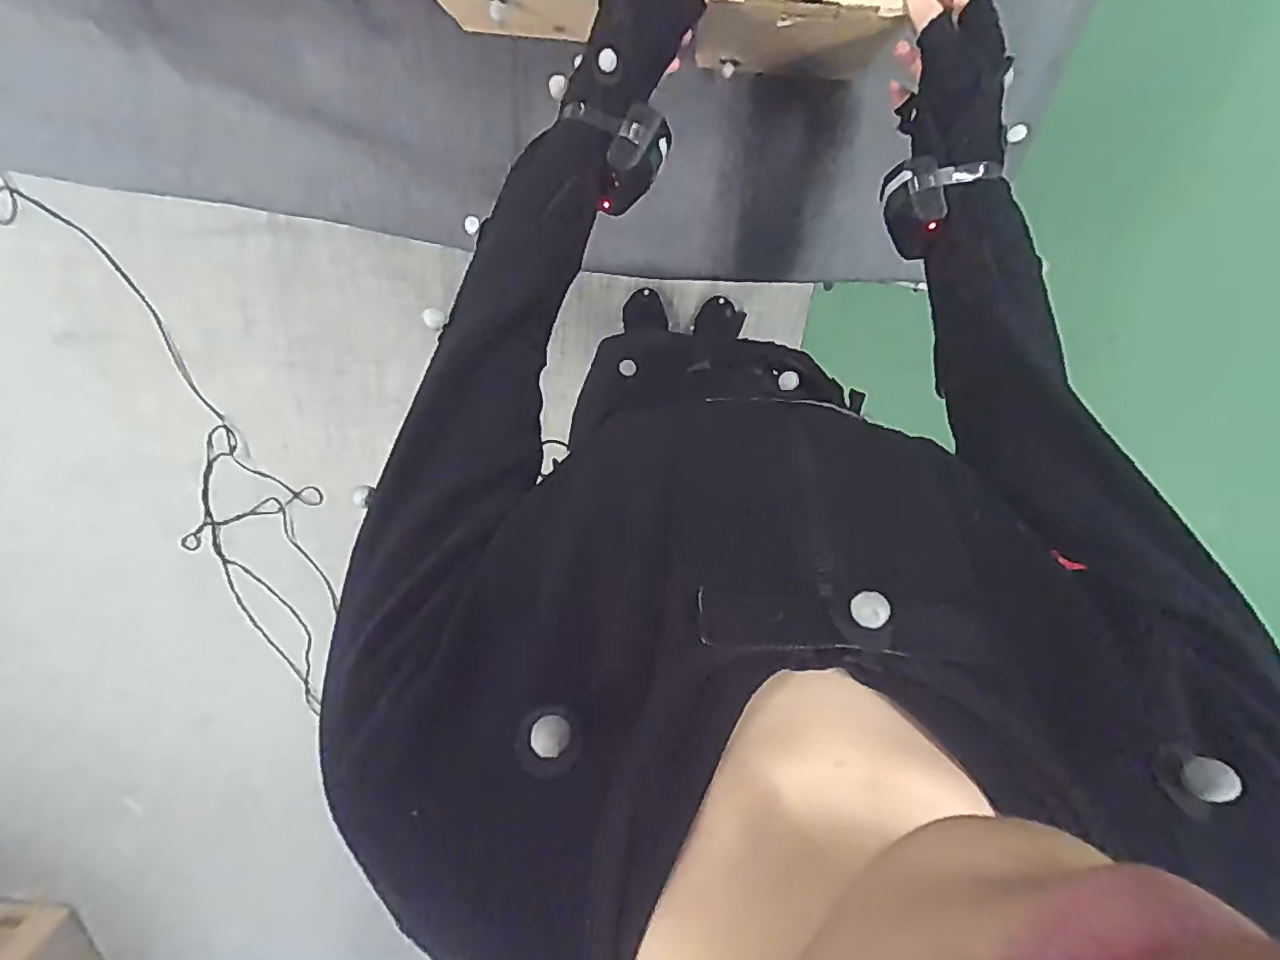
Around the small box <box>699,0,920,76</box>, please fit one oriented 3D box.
[{"bbox_3d":[0.141,-0.466,0.450,0.168,0.176,0.179,5,112,1],"label":"small box"}]
